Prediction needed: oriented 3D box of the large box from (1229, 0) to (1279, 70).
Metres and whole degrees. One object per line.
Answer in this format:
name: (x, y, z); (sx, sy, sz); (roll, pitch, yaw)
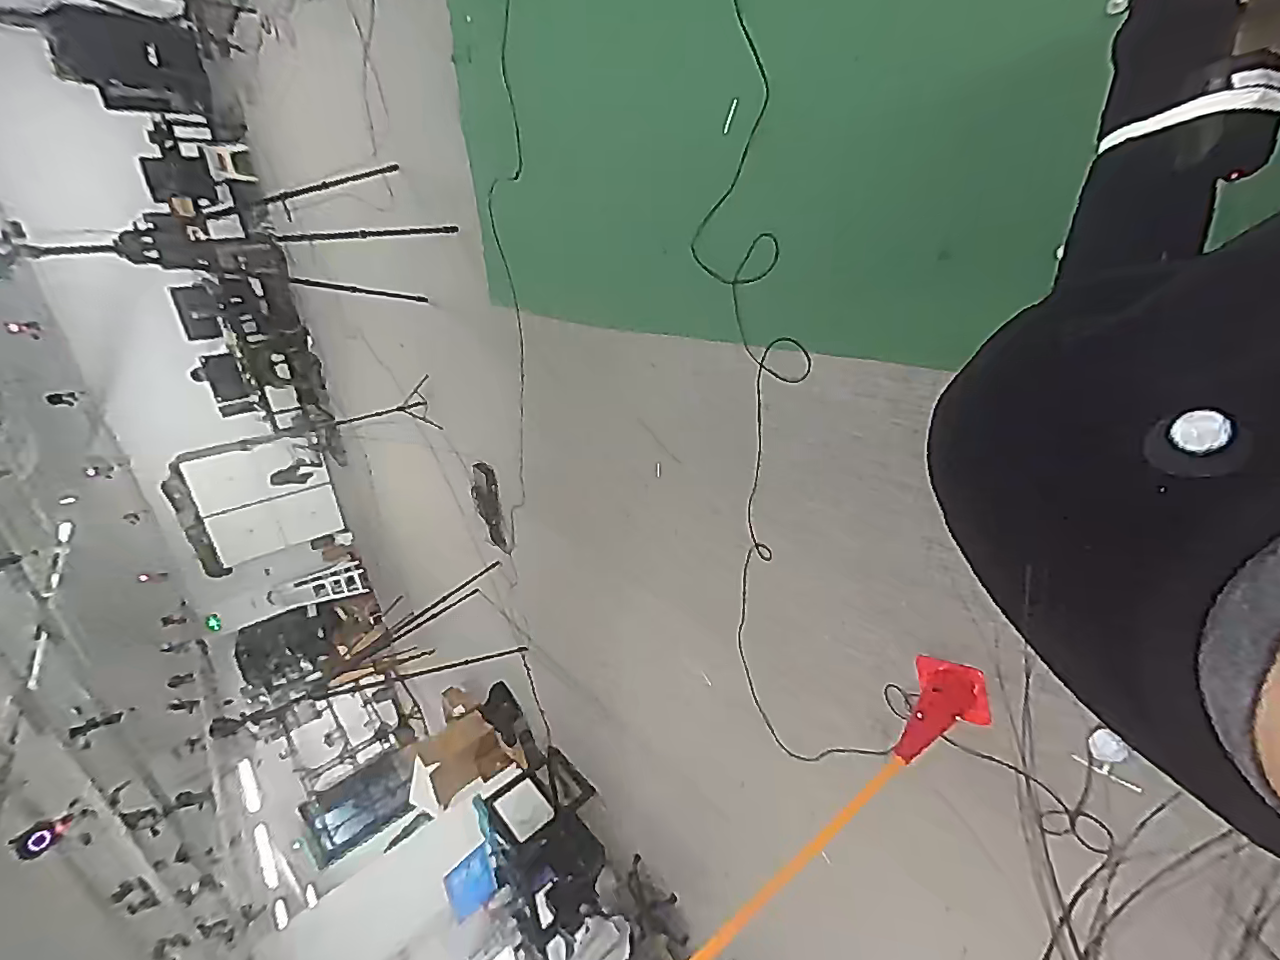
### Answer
large box: (0.585, -0.462, 0.240); (0.408, 0.320, 0.320); (10, 114, 44)
